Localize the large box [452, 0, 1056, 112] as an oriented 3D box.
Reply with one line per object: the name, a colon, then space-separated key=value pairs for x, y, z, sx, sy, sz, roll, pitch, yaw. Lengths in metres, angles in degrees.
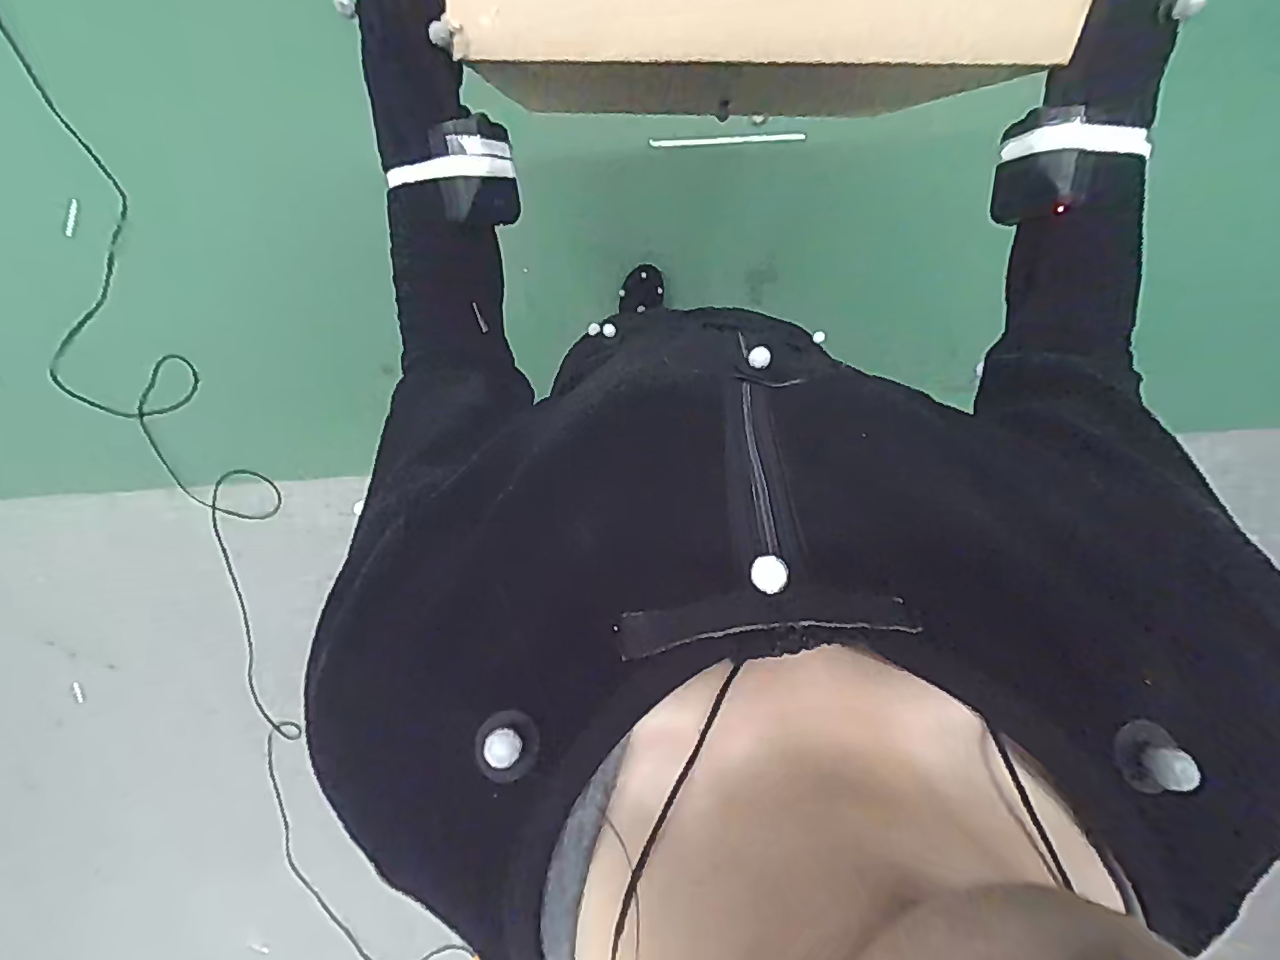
large box: x=0.075 y=-0.489 z=0.426 sx=0.408 sy=0.320 sz=0.320 roll=0 pitch=118 yaw=-1
